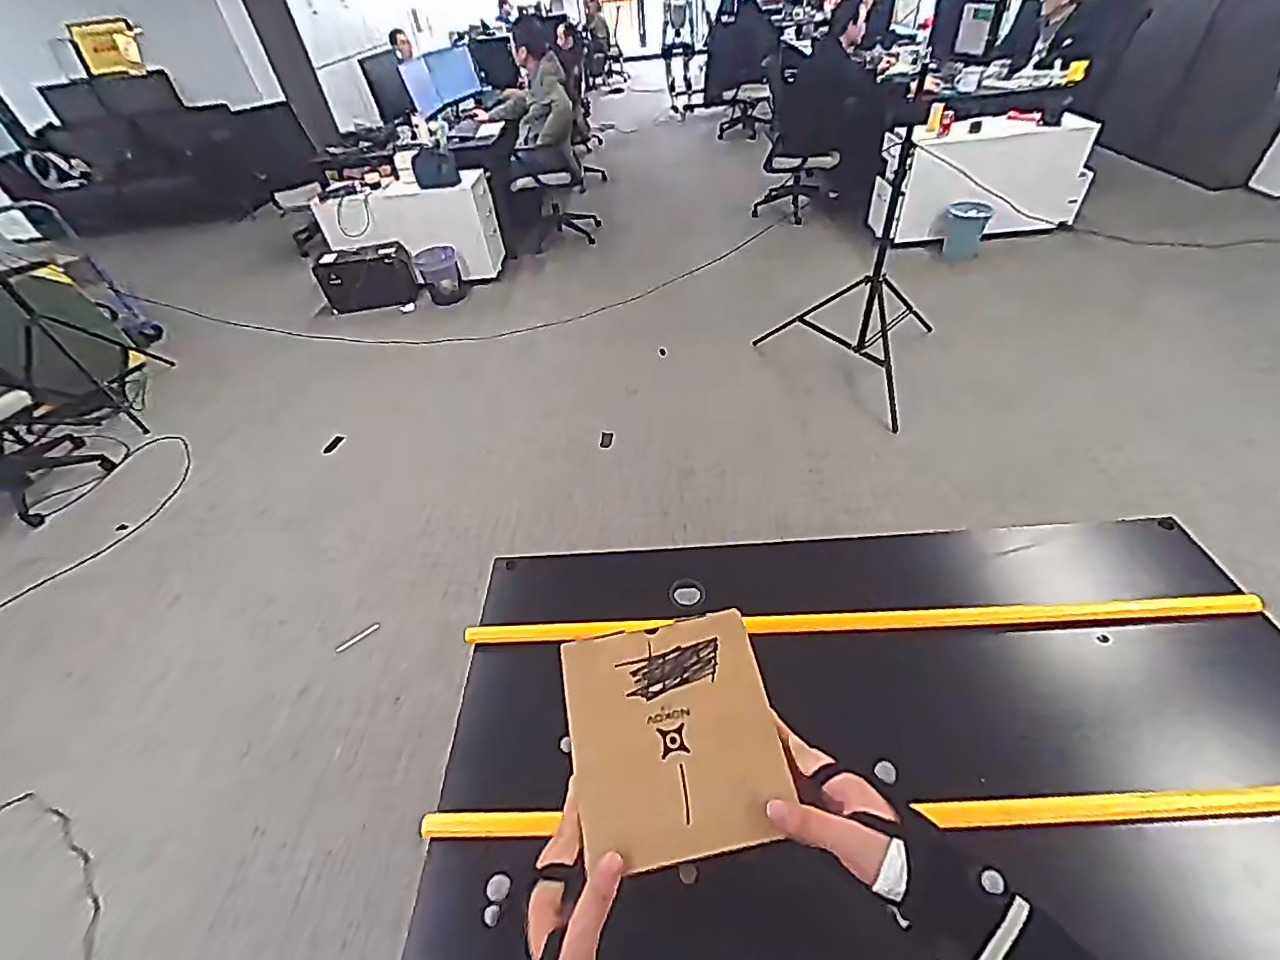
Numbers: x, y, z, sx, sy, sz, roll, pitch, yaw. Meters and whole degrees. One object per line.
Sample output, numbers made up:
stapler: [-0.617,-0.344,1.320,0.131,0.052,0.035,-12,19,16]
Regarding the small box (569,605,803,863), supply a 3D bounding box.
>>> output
small box: [0.030,0.242,0.508,0.168,0.176,0.179,-9,56,-4]
